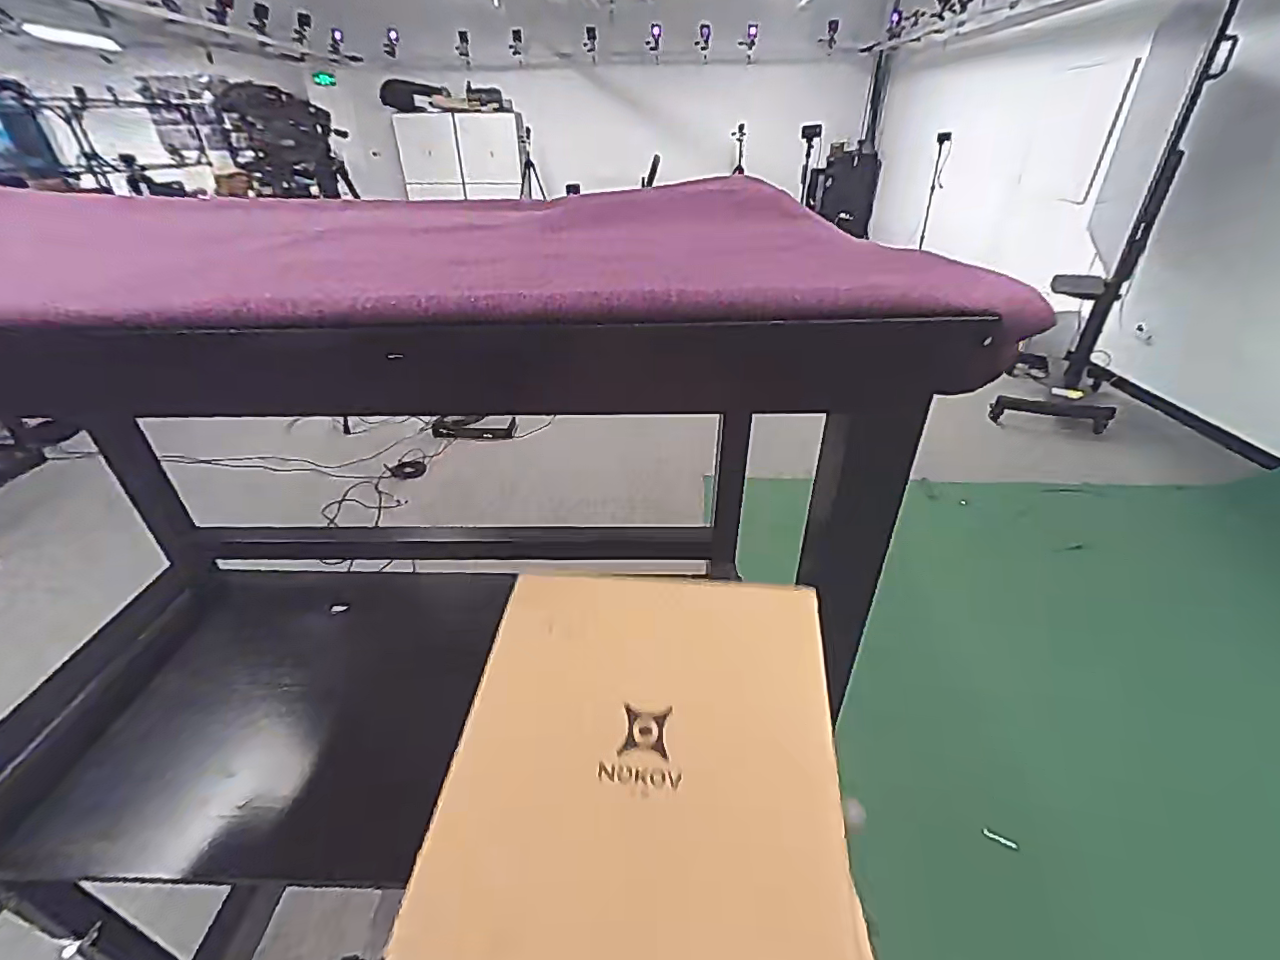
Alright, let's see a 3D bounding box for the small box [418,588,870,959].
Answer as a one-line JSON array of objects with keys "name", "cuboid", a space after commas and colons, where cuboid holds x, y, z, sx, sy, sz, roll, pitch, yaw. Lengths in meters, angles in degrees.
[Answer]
[{"name": "small box", "cuboid": [0.013, 0.184, 0.299, 0.168, 0.176, 0.179, 2, 44, 7]}]
